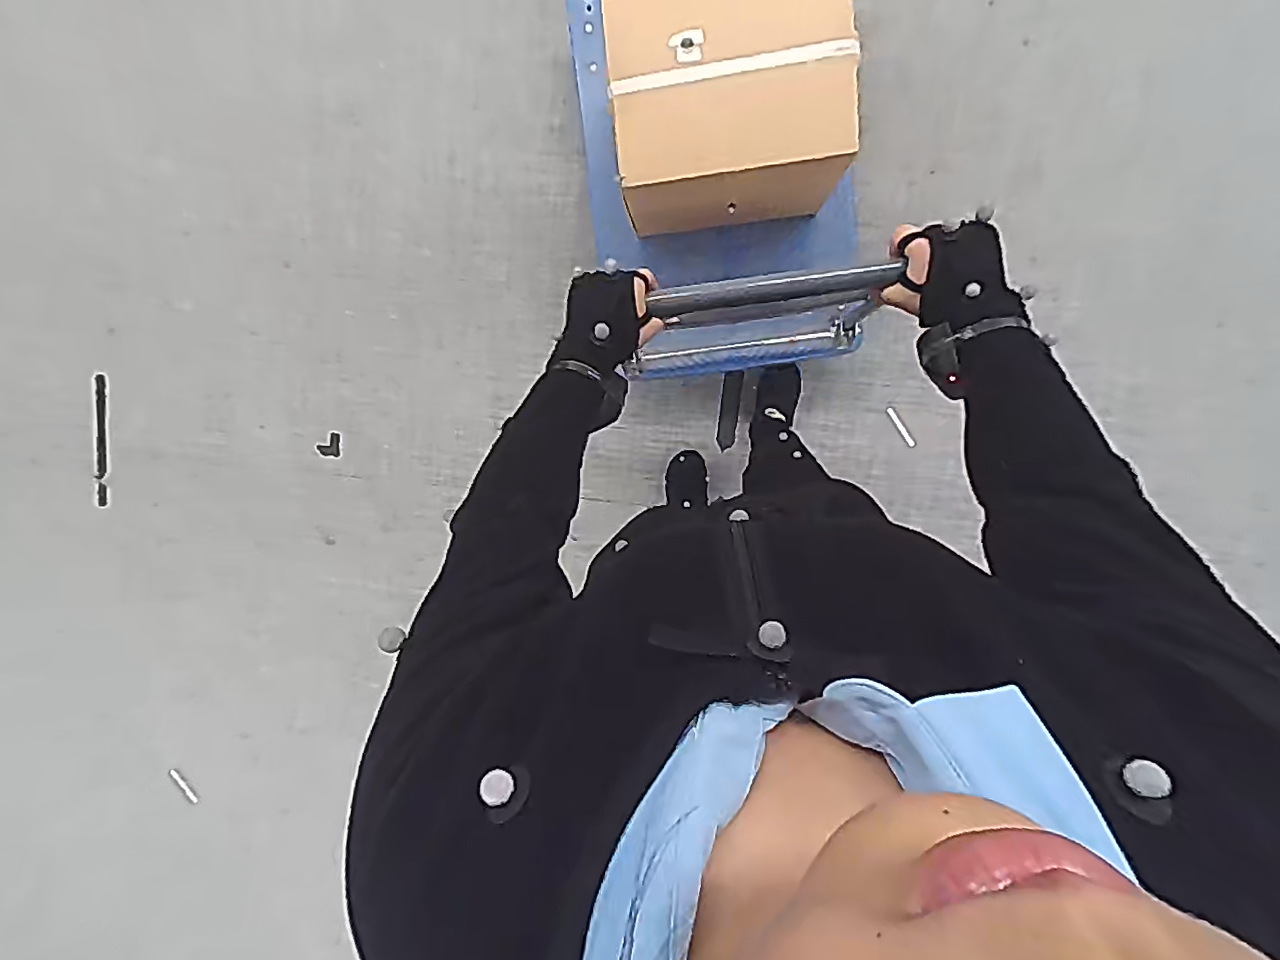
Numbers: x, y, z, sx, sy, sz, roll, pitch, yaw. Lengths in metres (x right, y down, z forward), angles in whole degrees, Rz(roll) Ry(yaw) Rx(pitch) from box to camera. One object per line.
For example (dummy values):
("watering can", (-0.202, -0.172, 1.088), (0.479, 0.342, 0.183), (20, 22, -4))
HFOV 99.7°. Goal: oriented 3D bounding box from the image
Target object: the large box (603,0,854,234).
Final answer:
("large box", (0.167, -0.714, 1.065), (0.408, 0.320, 0.320), (-6, 97, 7))
